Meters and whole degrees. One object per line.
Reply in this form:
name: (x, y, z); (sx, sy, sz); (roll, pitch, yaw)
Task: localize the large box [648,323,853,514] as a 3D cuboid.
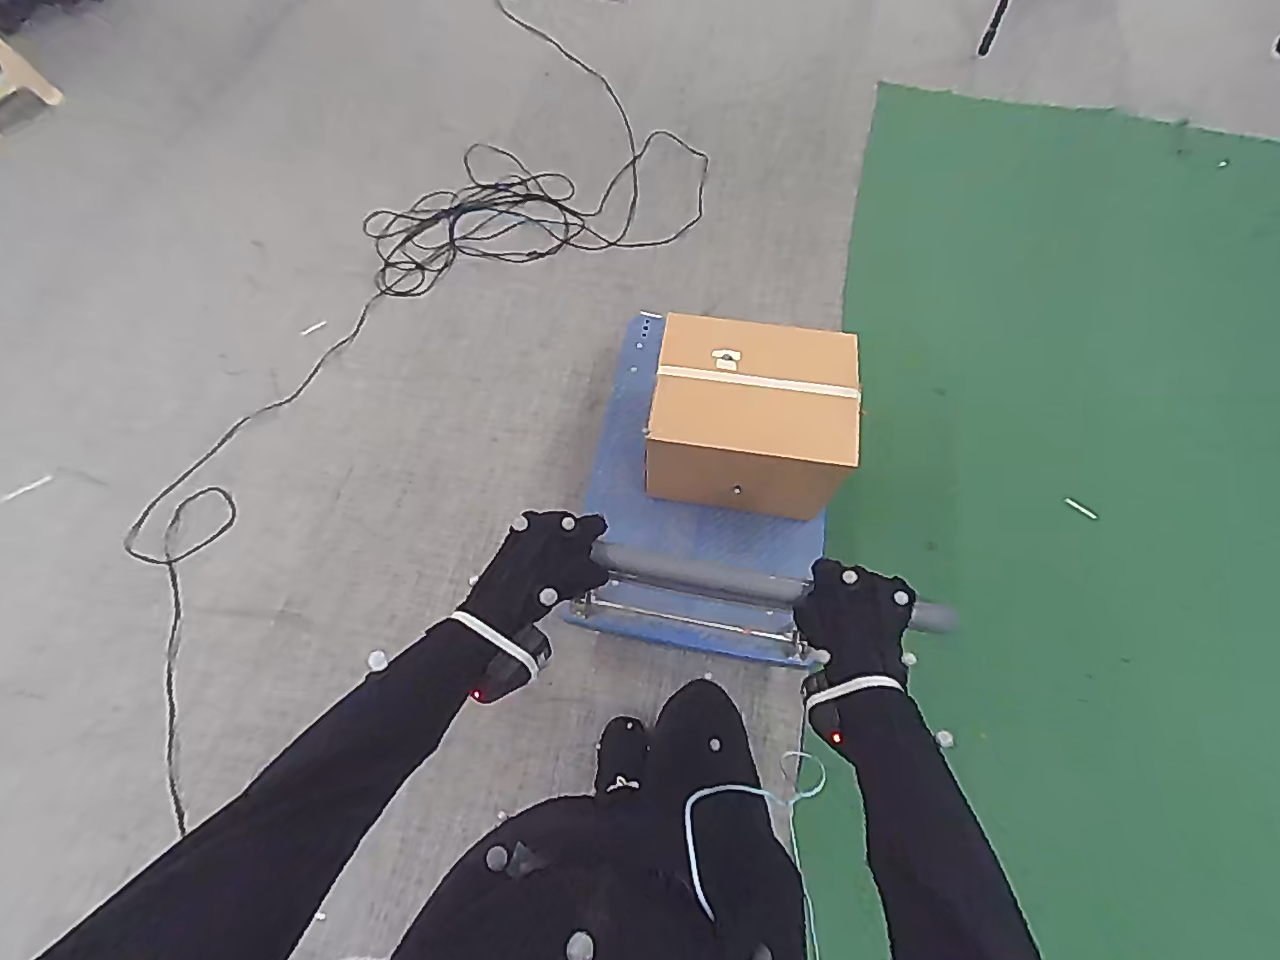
large box: (0.236, -0.127, 1.239); (0.408, 0.320, 0.320); (7, 67, 5)
